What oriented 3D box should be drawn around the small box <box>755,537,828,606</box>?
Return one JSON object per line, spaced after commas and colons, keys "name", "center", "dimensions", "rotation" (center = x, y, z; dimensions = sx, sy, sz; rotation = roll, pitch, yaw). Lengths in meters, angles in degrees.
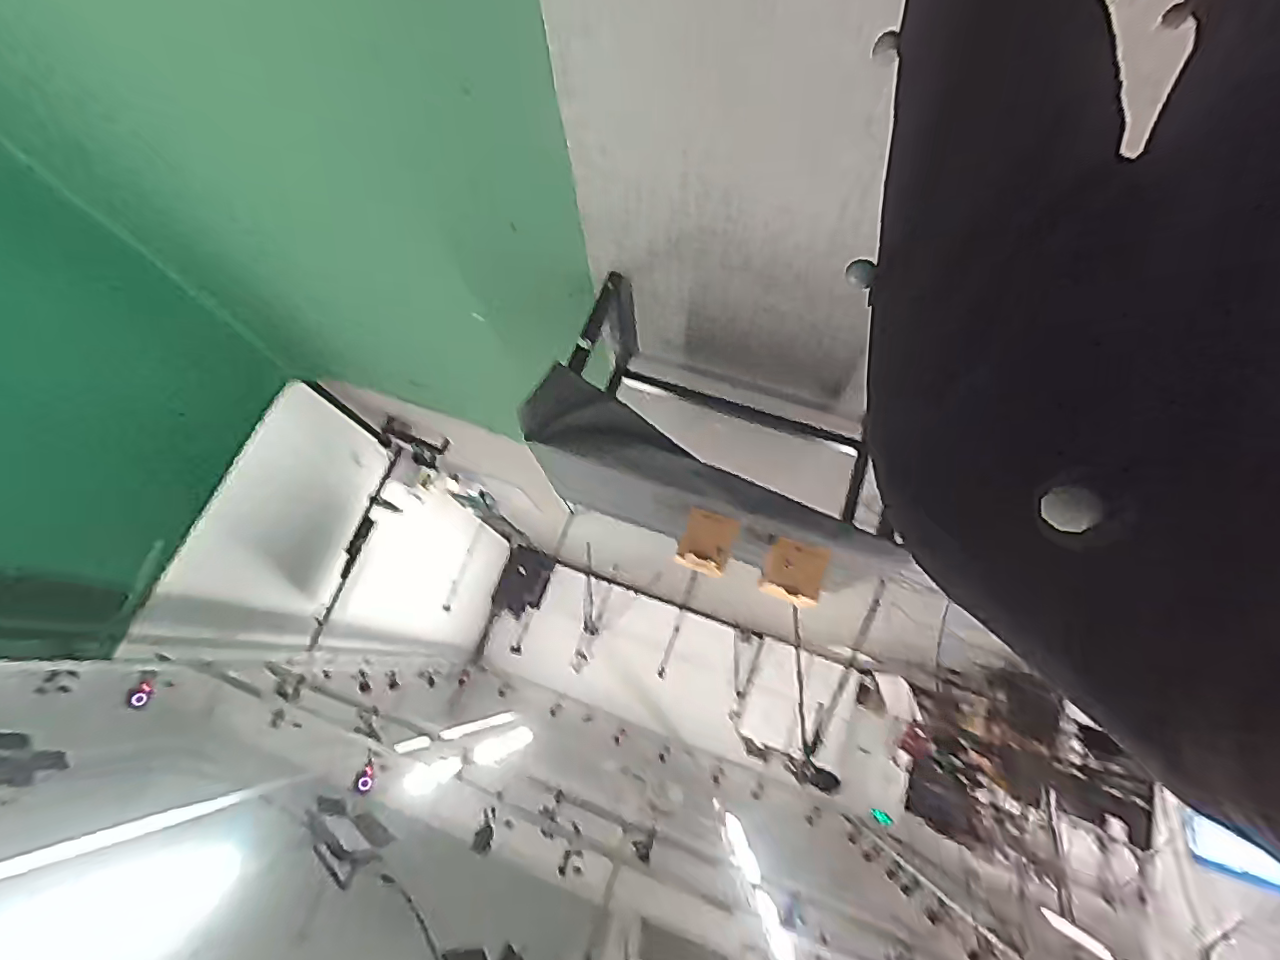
{"name": "small box", "center": [0.492, 0.296, 1.750], "dimensions": [0.168, 0.176, 0.179], "rotation": [21, 165, 6]}
